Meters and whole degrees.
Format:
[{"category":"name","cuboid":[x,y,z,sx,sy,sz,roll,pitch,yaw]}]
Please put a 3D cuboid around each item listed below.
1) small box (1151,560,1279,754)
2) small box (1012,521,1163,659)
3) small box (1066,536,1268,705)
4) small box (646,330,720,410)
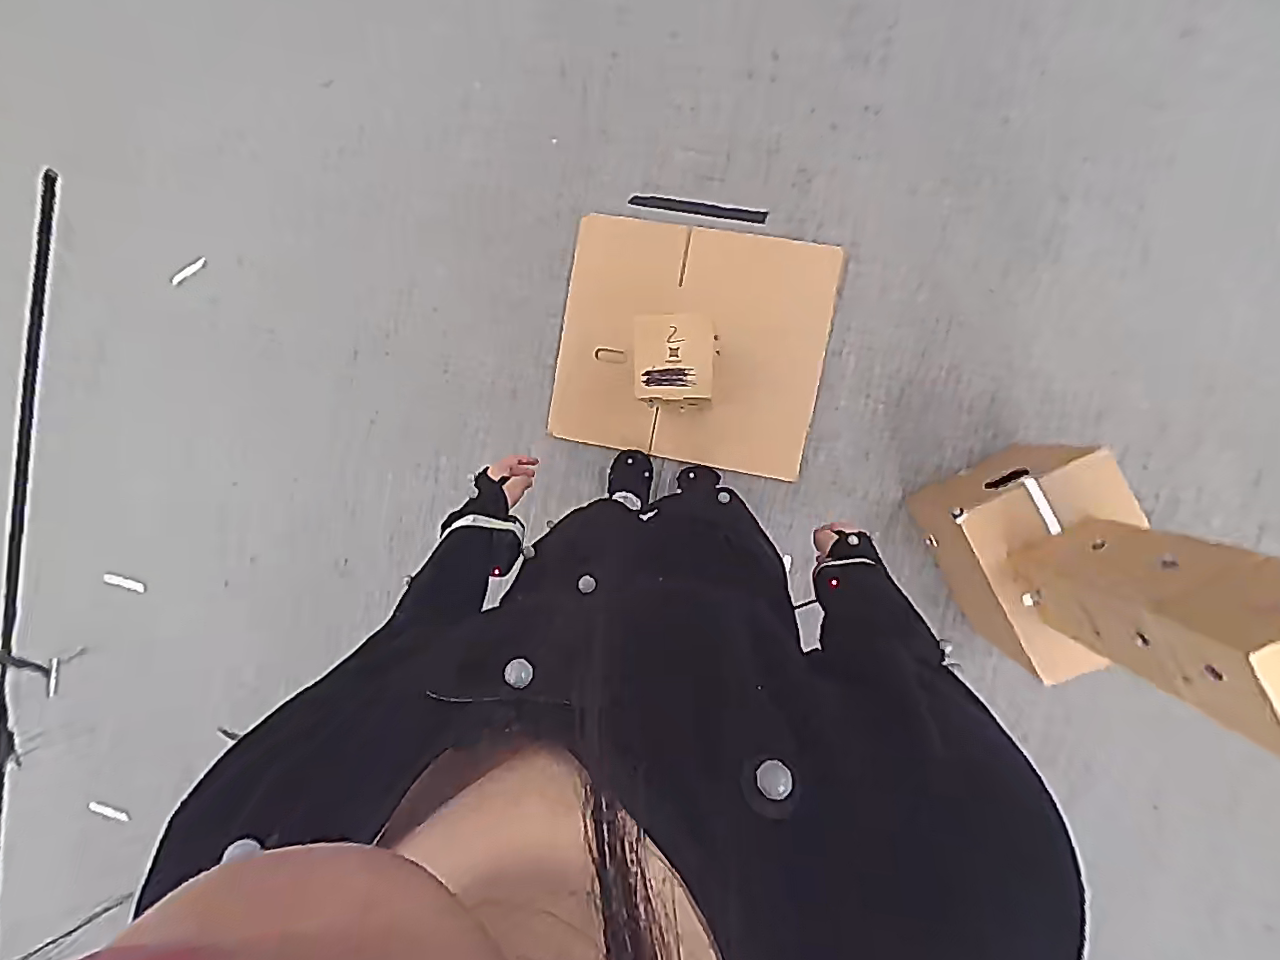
[{"category":"small box","cuboid":[0.800,0.221,0.670,0.179,0.176,0.168,-29,90,9]},{"category":"small box","cuboid":[0.841,0.191,0.993,0.179,0.176,0.168,-28,90,10]},{"category":"small box","cuboid":[0.822,0.203,0.830,0.179,0.176,0.168,-28,90,9]},{"category":"small box","cuboid":[0.112,-0.272,1.358,0.168,0.176,0.179,4,96,10]}]
